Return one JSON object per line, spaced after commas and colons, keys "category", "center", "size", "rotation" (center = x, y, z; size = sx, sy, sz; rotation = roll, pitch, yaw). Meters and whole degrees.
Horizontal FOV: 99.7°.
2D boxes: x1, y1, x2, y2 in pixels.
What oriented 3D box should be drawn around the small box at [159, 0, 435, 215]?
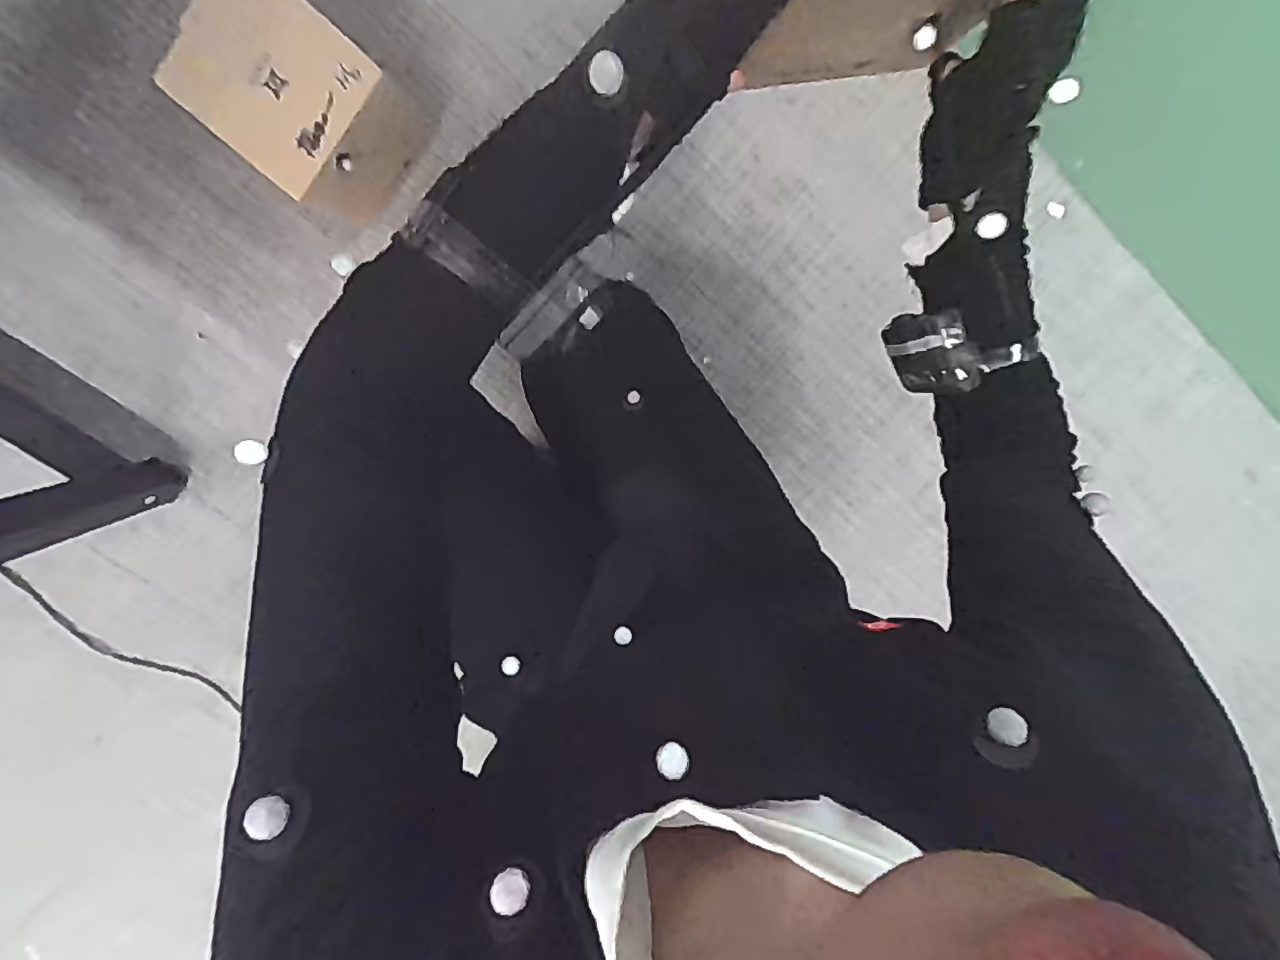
{"category": "small box", "center": [-0.382, -0.445, 0.635], "size": [0.179, 0.176, 0.168], "rotation": [40, 102, -9]}
